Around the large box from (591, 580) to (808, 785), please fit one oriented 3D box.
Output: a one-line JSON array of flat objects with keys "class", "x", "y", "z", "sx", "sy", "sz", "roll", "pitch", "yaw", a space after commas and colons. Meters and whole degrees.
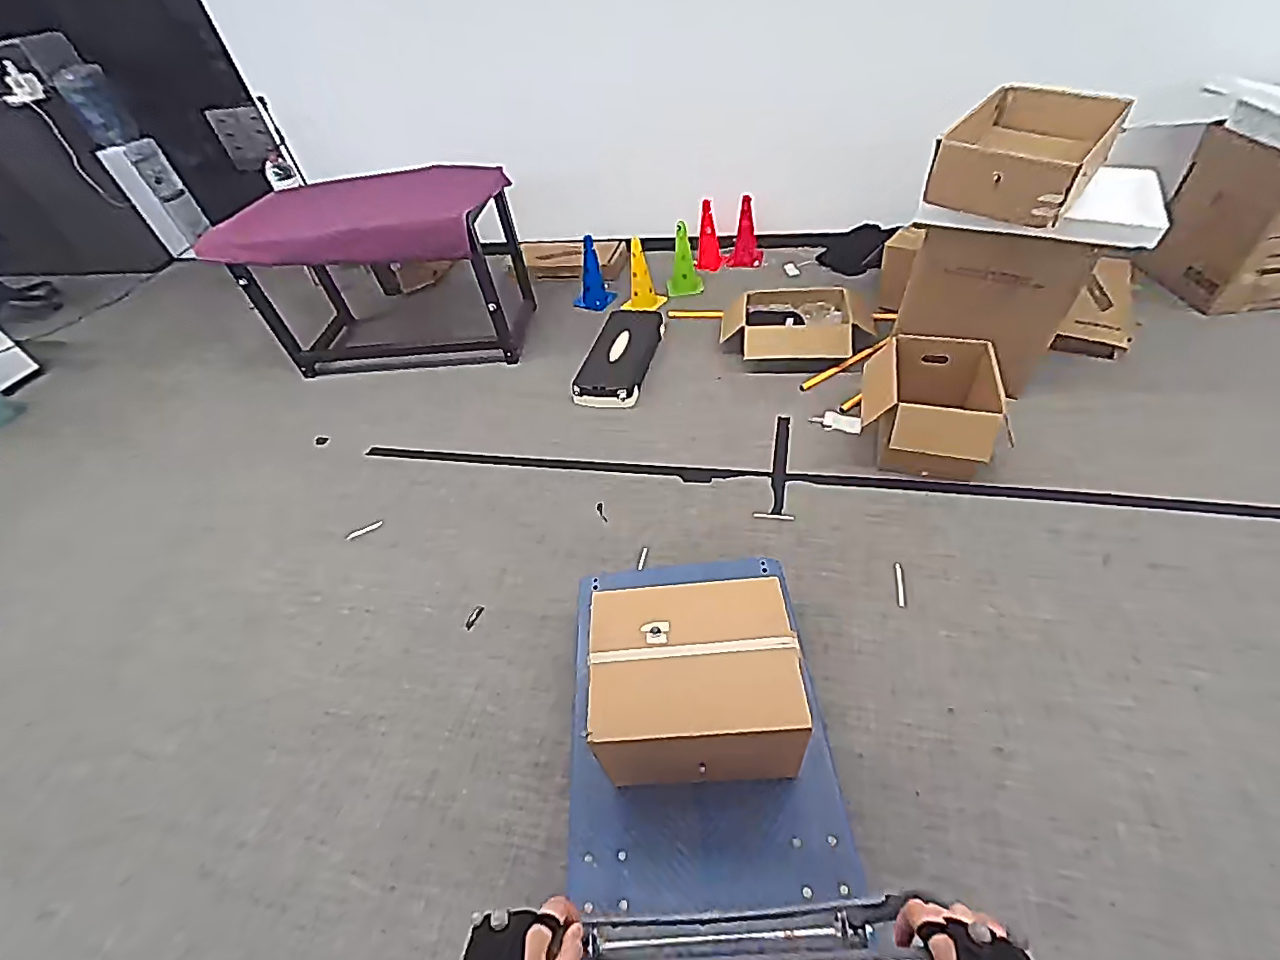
[{"class": "large box", "x": 0.121, "y": 0.452, "z": 1.188, "sx": 0.408, "sy": 0.320, "sz": 0.320, "roll": -7, "pitch": 46, "yaw": 5}]
